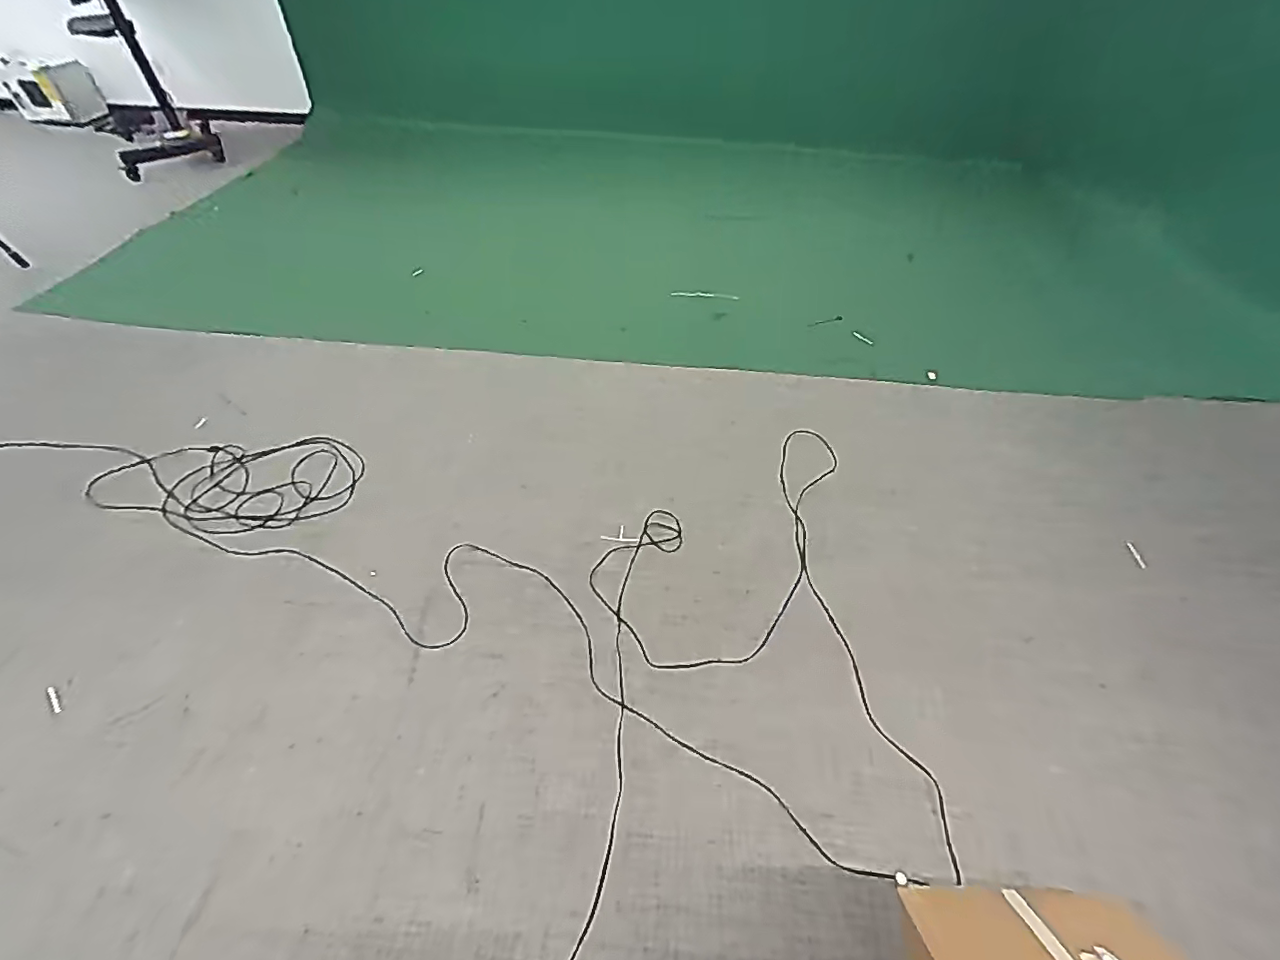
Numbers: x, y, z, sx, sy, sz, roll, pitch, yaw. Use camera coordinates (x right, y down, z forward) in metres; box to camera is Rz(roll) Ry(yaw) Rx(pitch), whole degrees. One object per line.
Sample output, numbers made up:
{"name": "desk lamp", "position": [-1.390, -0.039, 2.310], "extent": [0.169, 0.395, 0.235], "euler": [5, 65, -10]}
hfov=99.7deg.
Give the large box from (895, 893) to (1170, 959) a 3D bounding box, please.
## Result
{"name": "large box", "position": [0.526, 0.766, 0.600], "extent": [0.320, 0.408, 0.320], "euler": [0, 89, 4]}
